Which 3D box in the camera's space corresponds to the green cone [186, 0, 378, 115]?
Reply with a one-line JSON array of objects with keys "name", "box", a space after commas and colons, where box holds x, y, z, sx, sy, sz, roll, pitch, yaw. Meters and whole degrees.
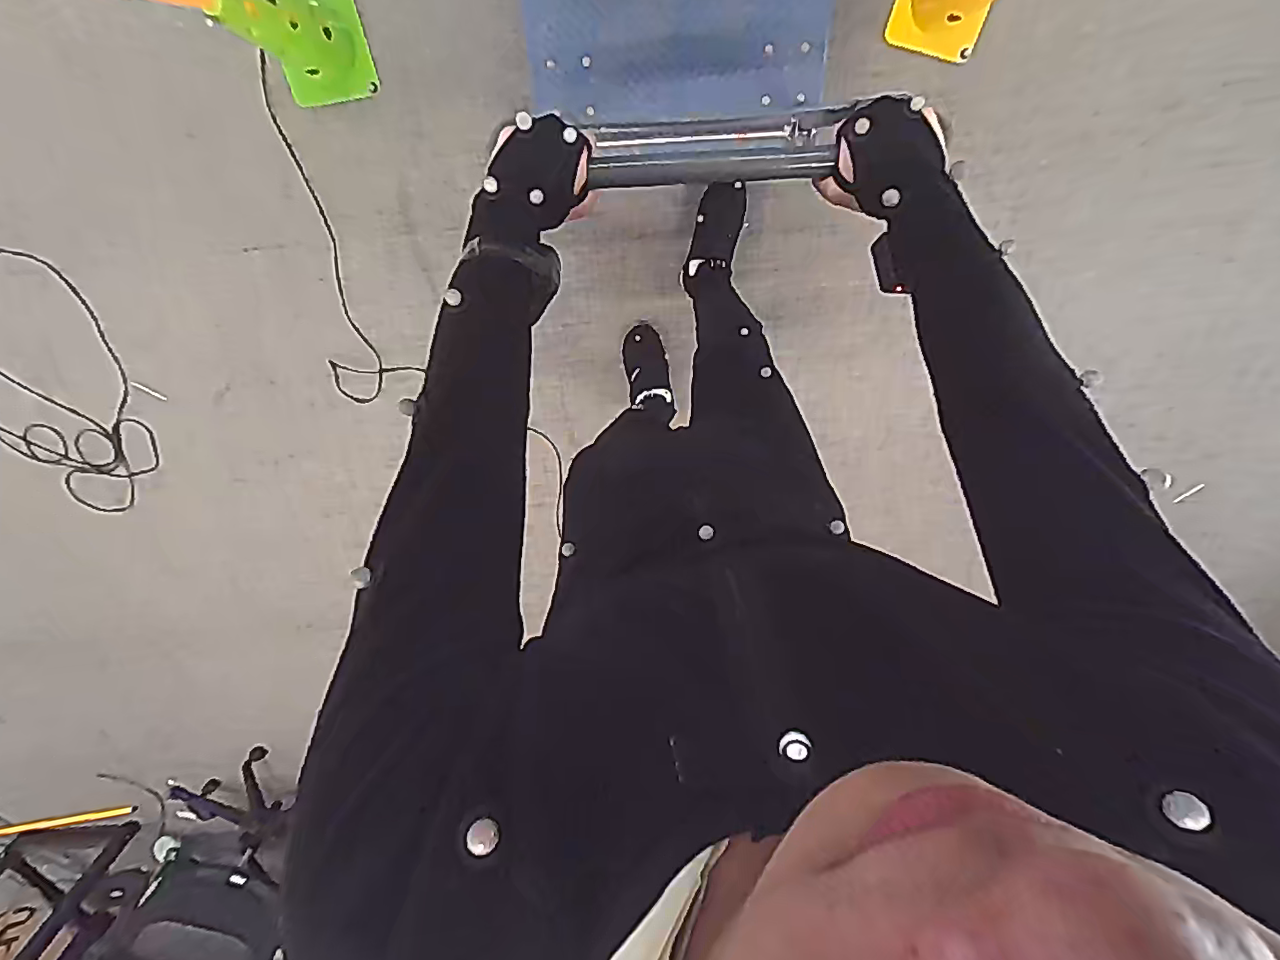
[{"name": "green cone", "box": [-0.693, -0.840, 1.016, 0.202, 0.368, 0.200, -7, 118, 6]}]
